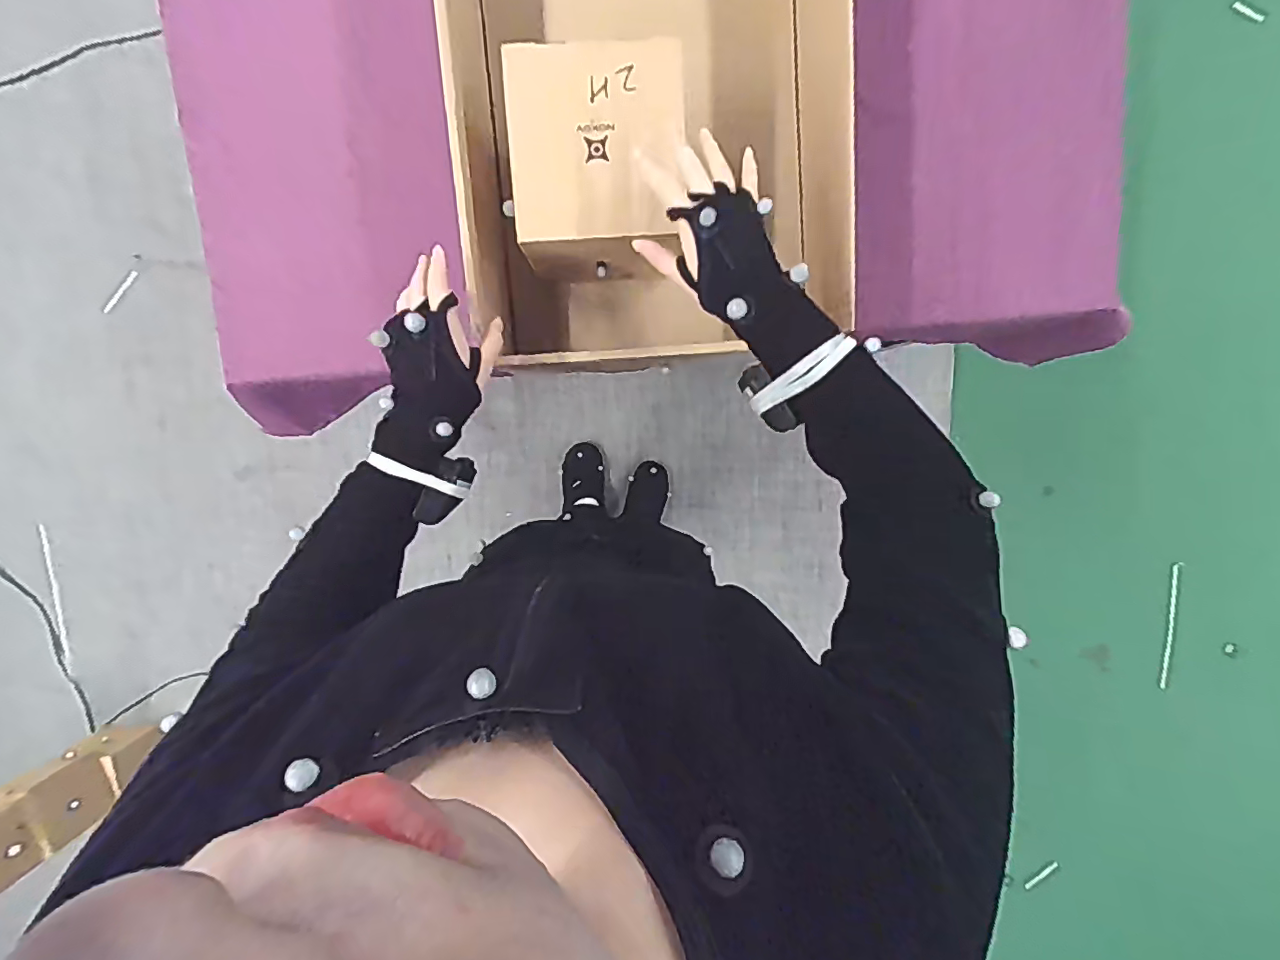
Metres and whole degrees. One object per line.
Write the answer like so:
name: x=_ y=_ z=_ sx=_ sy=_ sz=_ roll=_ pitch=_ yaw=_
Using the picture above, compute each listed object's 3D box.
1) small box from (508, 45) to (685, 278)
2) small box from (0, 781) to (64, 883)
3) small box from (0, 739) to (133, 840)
small box: x=-0.039 y=-0.326 z=0.592 sx=0.168 sy=0.176 sz=0.179 roll=-2 pitch=97 yaw=0
small box: x=-1.500 y=0.823 z=1.232 sx=0.179 sy=0.176 sz=0.168 roll=-11 pitch=97 yaw=2
small box: x=-1.482 y=0.797 z=1.393 sx=0.168 sy=0.176 sz=0.179 roll=-14 pitch=98 yaw=3
